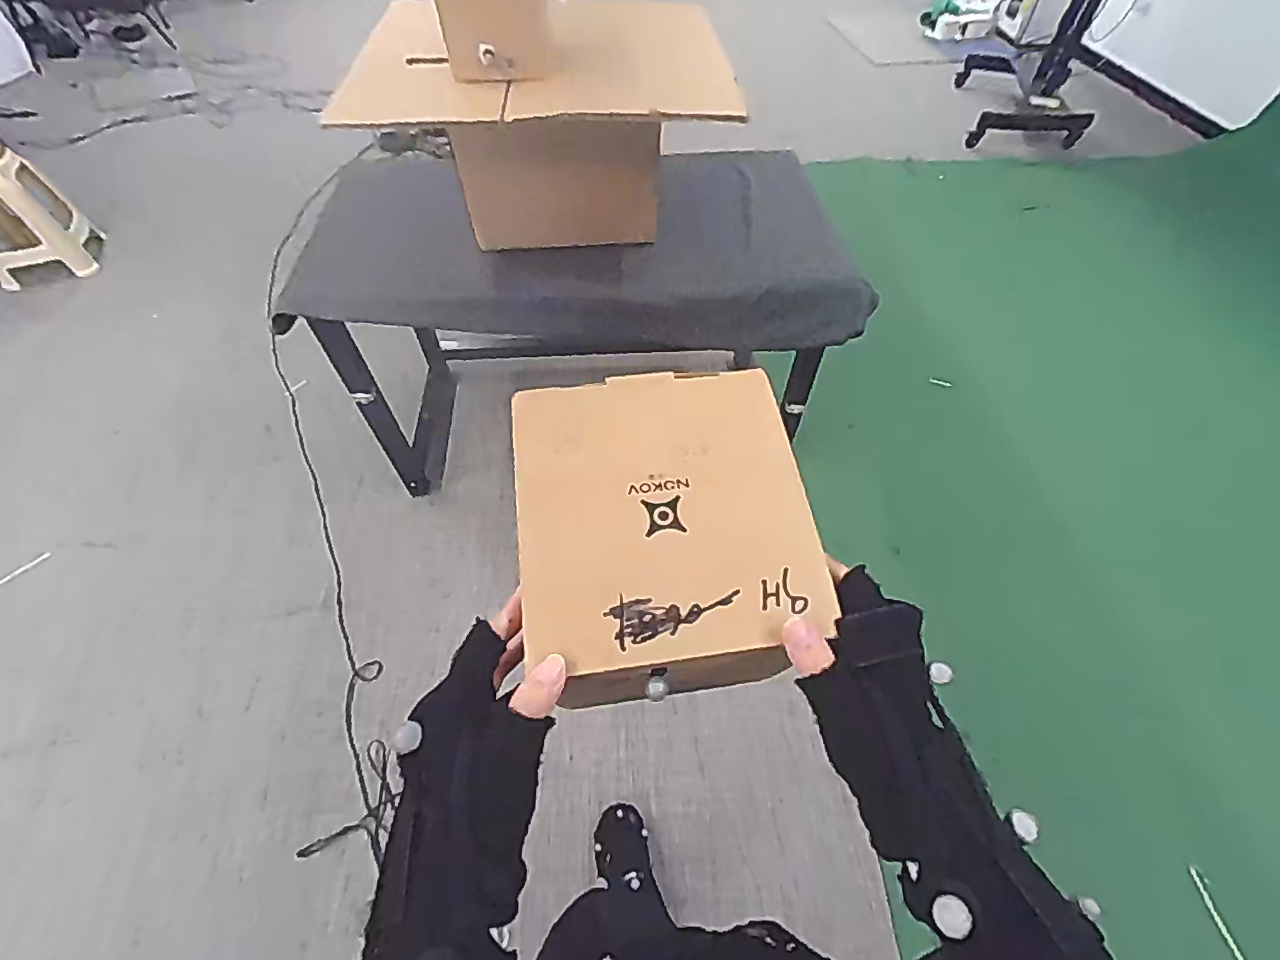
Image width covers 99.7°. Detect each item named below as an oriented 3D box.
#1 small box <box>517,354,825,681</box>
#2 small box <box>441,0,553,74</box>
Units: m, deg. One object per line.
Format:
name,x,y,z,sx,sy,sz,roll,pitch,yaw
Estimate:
small box,0.007,0.035,0.393,0.168,0.176,0.179,-7,63,-5
small box,-0.243,-0.822,0.920,0.168,0.176,0.179,-4,56,-1
